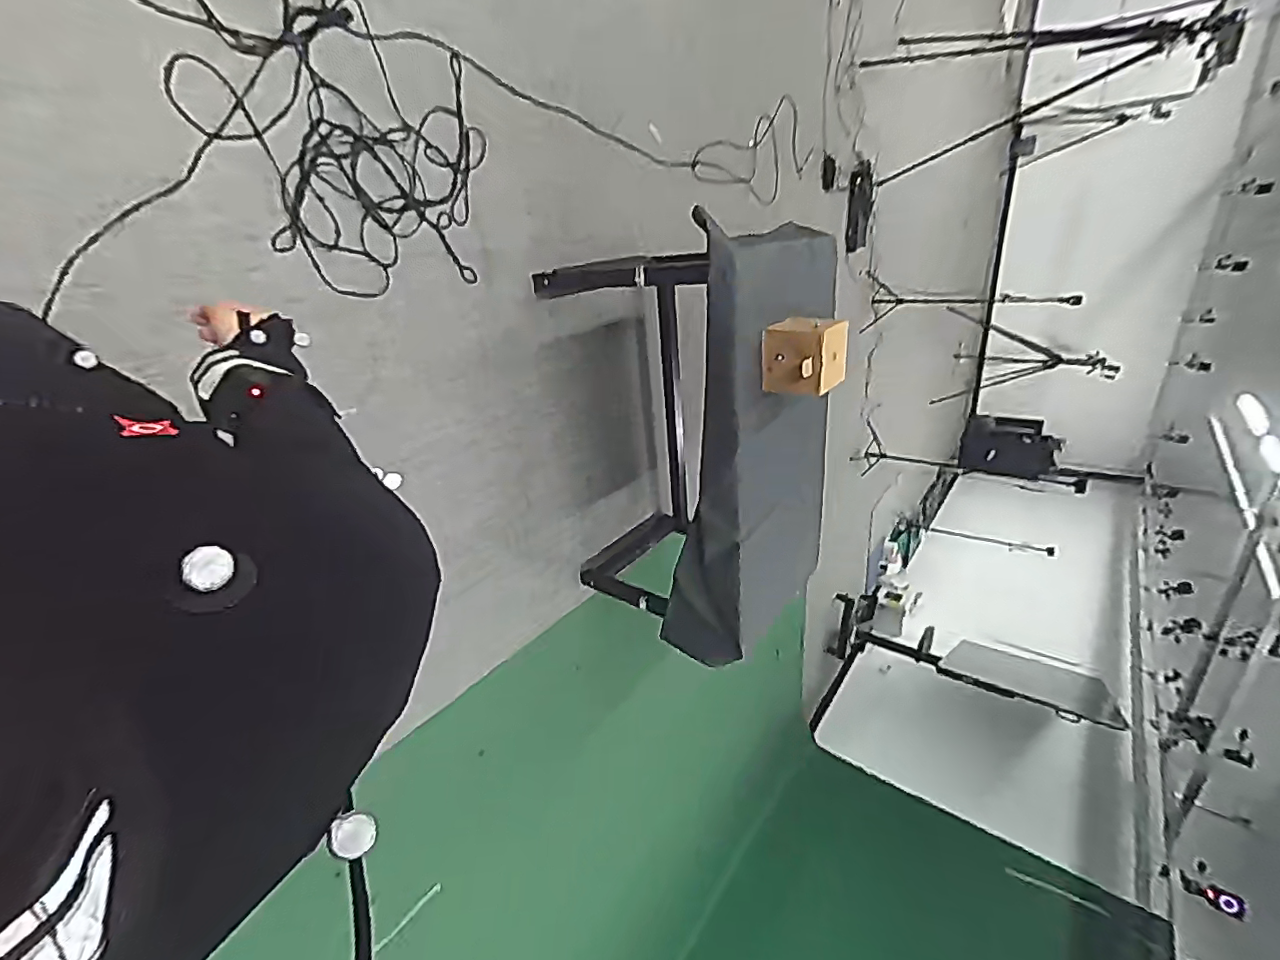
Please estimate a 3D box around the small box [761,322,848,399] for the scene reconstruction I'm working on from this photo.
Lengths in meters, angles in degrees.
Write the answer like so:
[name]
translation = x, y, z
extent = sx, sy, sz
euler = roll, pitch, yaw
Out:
[small box]
translation = 0.443, -0.330, 1.462
extent = 0.179, 0.176, 0.168
euler = -32, 125, -43
